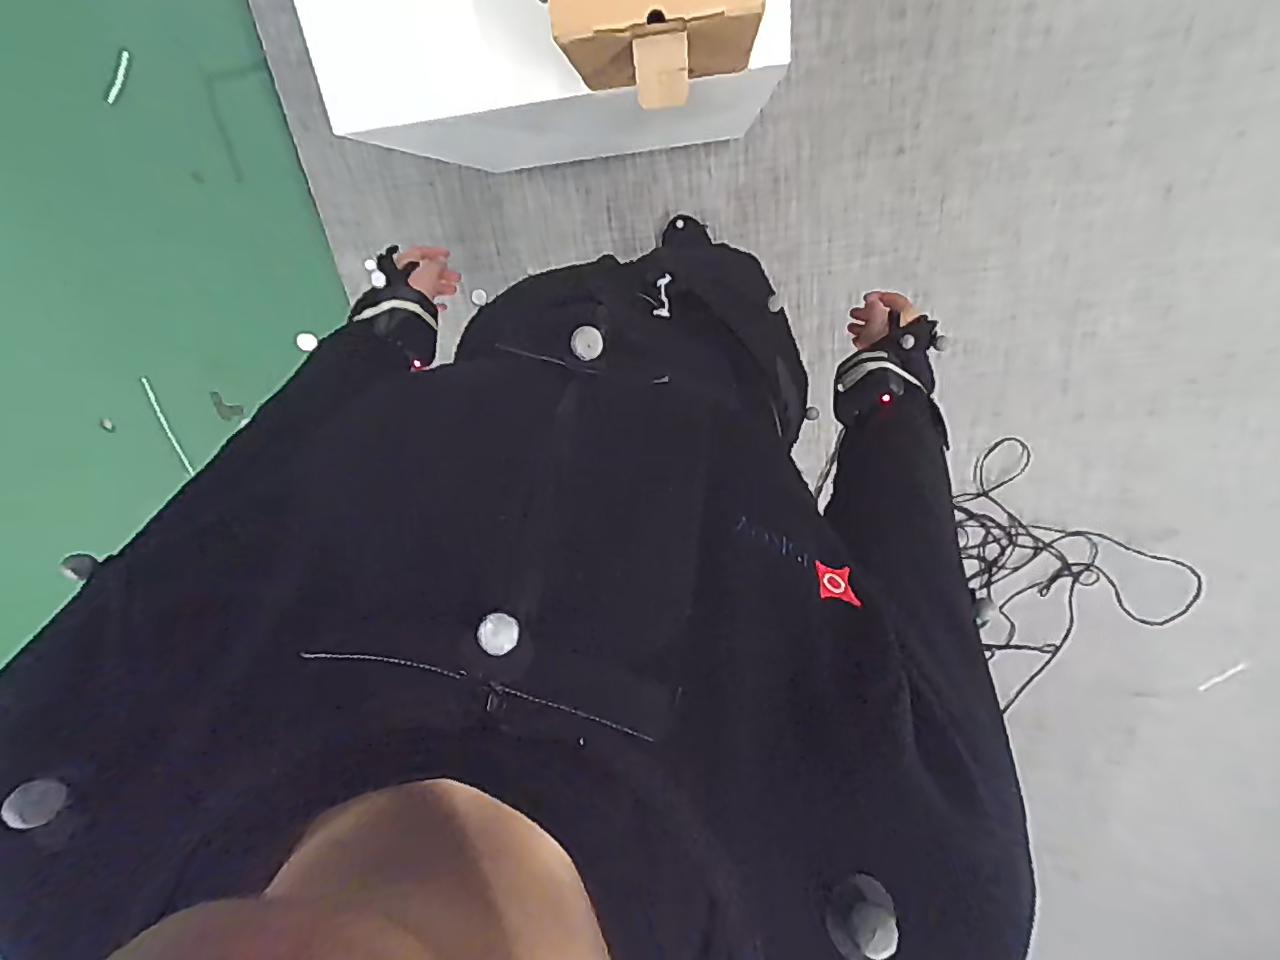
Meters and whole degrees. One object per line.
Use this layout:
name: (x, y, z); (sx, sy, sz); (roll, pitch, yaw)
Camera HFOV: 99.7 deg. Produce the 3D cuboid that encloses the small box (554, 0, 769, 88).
small box: (0.015, -0.460, 0.450); (0.168, 0.176, 0.179); (-3, 115, 7)
